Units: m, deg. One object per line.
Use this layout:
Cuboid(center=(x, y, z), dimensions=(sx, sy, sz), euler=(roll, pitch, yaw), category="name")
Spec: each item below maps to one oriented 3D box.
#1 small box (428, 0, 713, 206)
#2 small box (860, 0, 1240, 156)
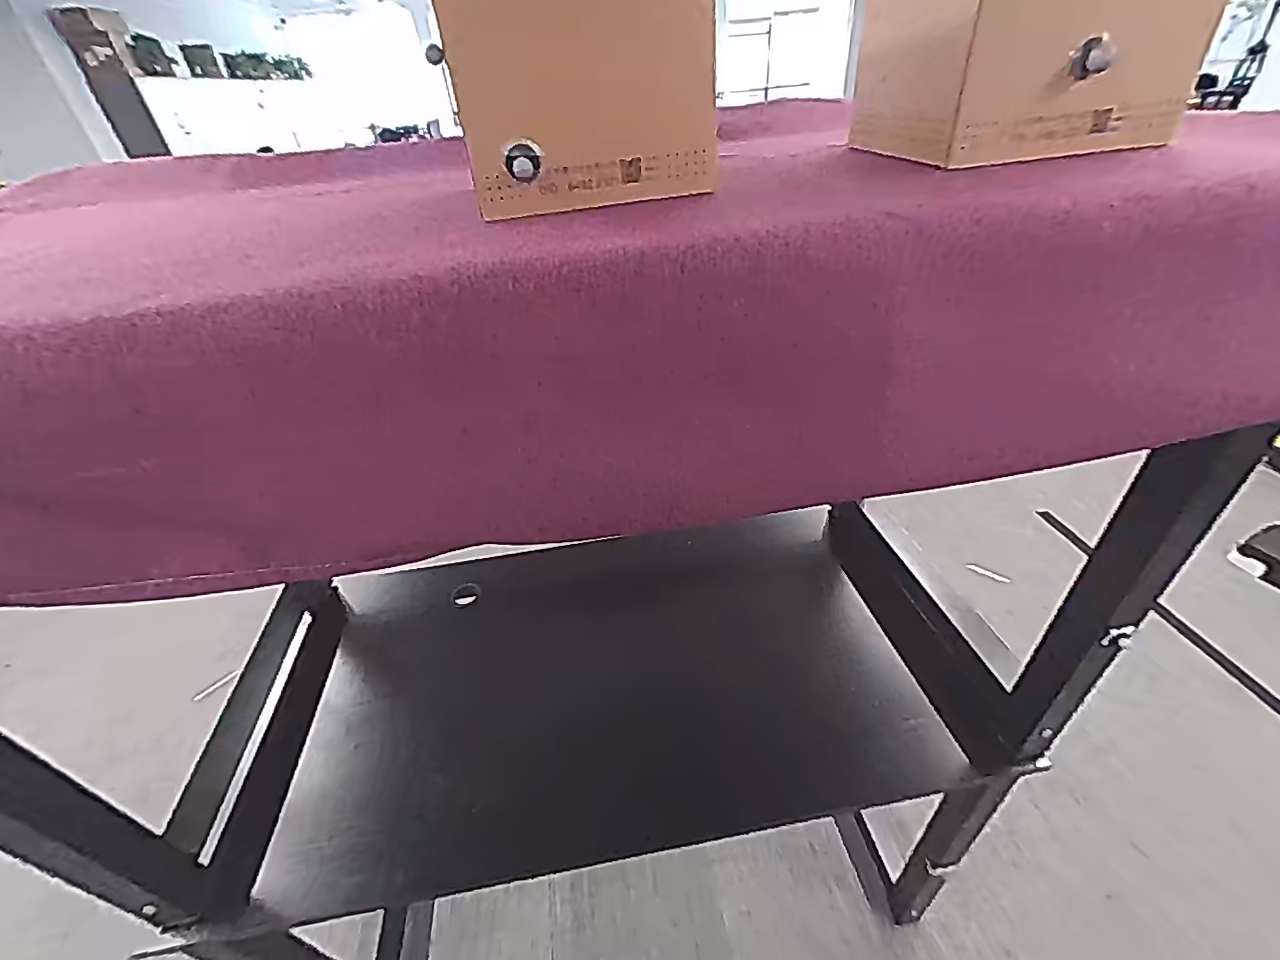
Cuboid(center=(-0.050, -0.299, 0.379), dimensions=(0.168, 0.176, 0.179), euler=(-12, 36, -9), category="small box")
Cuboid(center=(0.279, -0.341, 0.390), dimensions=(0.168, 0.176, 0.179), euler=(-7, 36, -1), category="small box")
